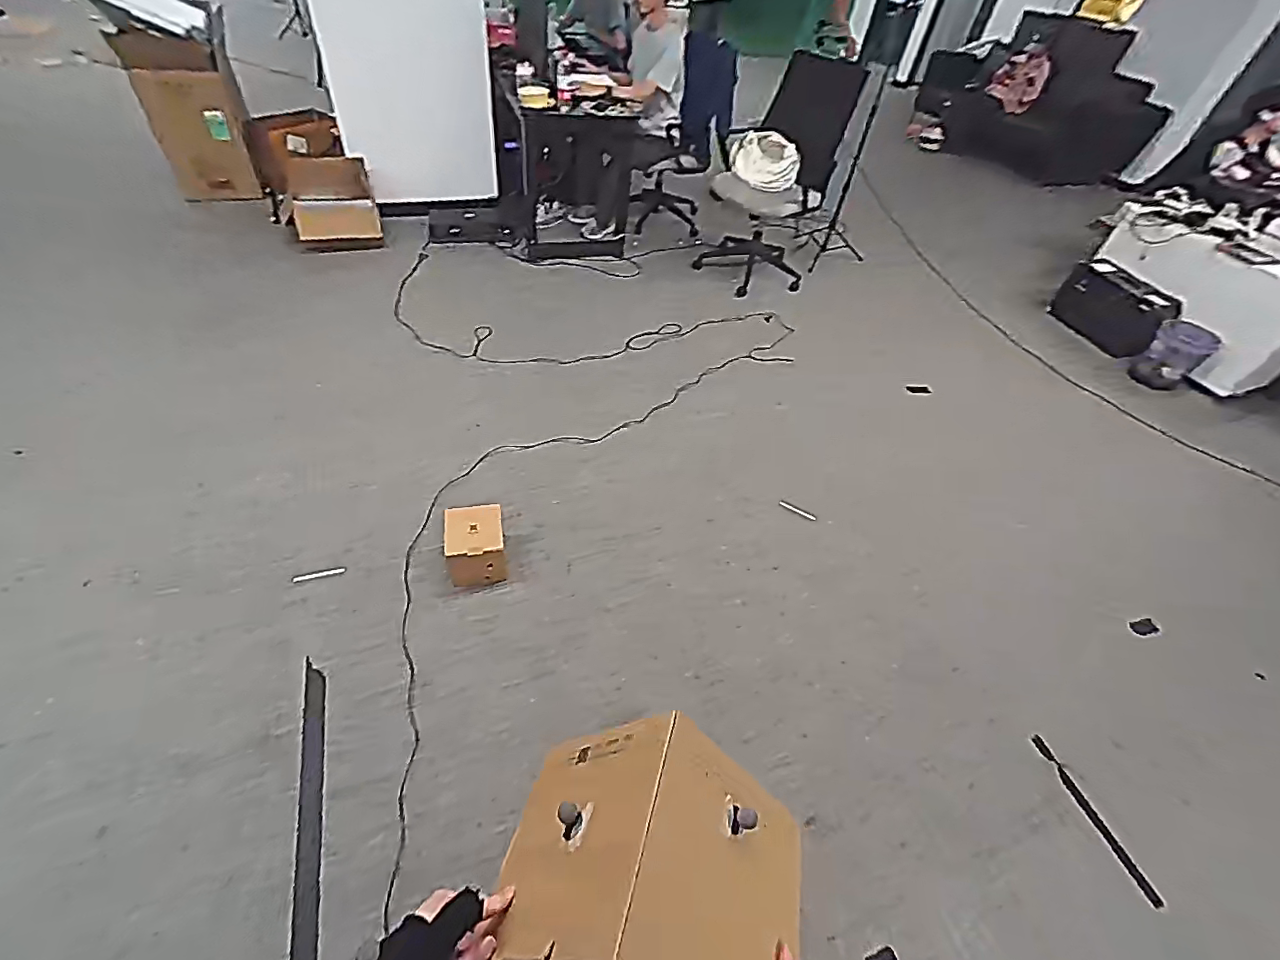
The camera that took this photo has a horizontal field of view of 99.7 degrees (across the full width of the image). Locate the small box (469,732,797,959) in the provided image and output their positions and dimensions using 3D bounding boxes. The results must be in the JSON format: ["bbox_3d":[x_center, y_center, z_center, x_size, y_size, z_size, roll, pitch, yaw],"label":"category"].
[{"bbox_3d":[0.008,0.327,0.435,0.179,0.168,0.176,47,34,-15],"label":"small box"}]

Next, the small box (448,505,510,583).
[{"bbox_3d":[-0.493,0.203,1.662,0.168,0.176,0.179,-5,48,-13],"label":"small box"}]
